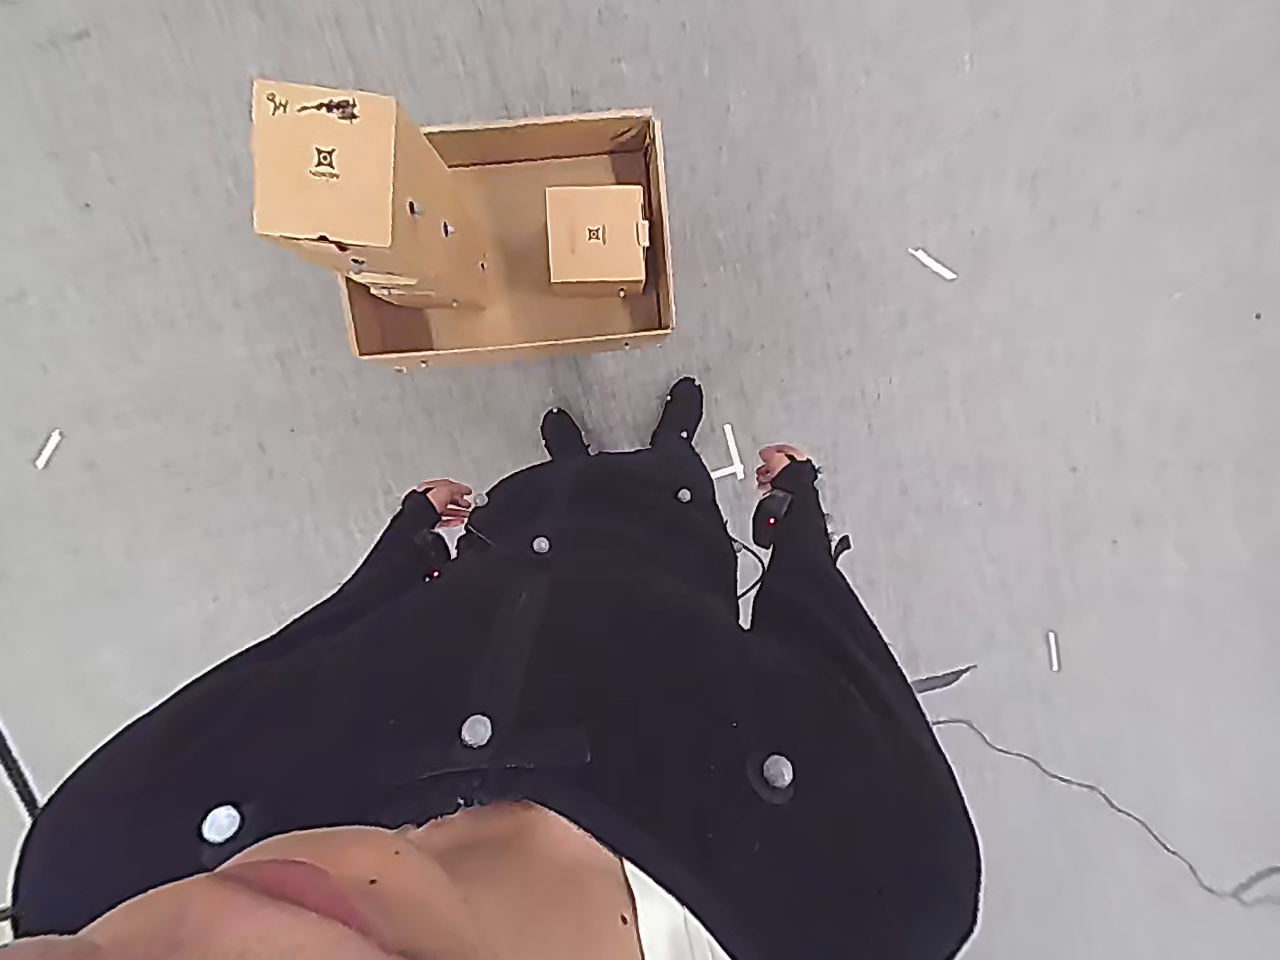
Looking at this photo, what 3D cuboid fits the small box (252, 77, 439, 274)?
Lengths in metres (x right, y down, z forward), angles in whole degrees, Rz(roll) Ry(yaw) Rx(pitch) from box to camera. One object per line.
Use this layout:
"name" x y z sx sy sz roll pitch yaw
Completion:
"small box" -0.378 -0.386 0.721 0.168 0.176 0.179 6 99 -4

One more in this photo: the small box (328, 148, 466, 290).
"small box" -0.387 -0.416 0.883 0.168 0.176 0.179 2 98 -3
